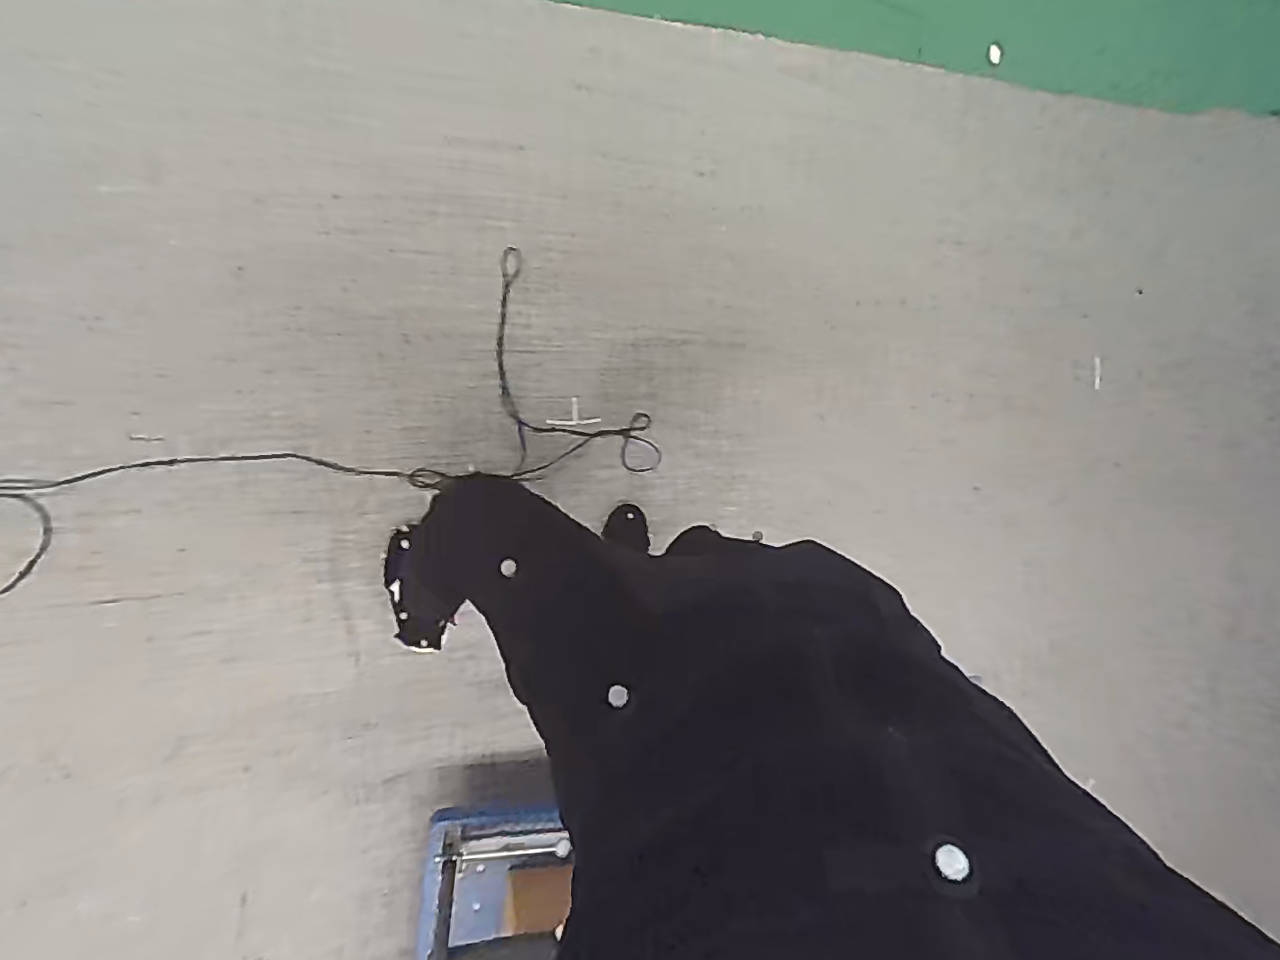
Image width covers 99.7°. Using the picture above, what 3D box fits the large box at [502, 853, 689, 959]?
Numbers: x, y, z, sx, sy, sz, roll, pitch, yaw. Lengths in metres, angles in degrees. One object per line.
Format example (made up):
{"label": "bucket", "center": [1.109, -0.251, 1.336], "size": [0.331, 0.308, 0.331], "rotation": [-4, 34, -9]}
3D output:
{"label": "large box", "center": [-0.106, 1.034, 1.046], "size": [0.320, 0.320, 0.408], "rotation": [6, 90, -16]}
